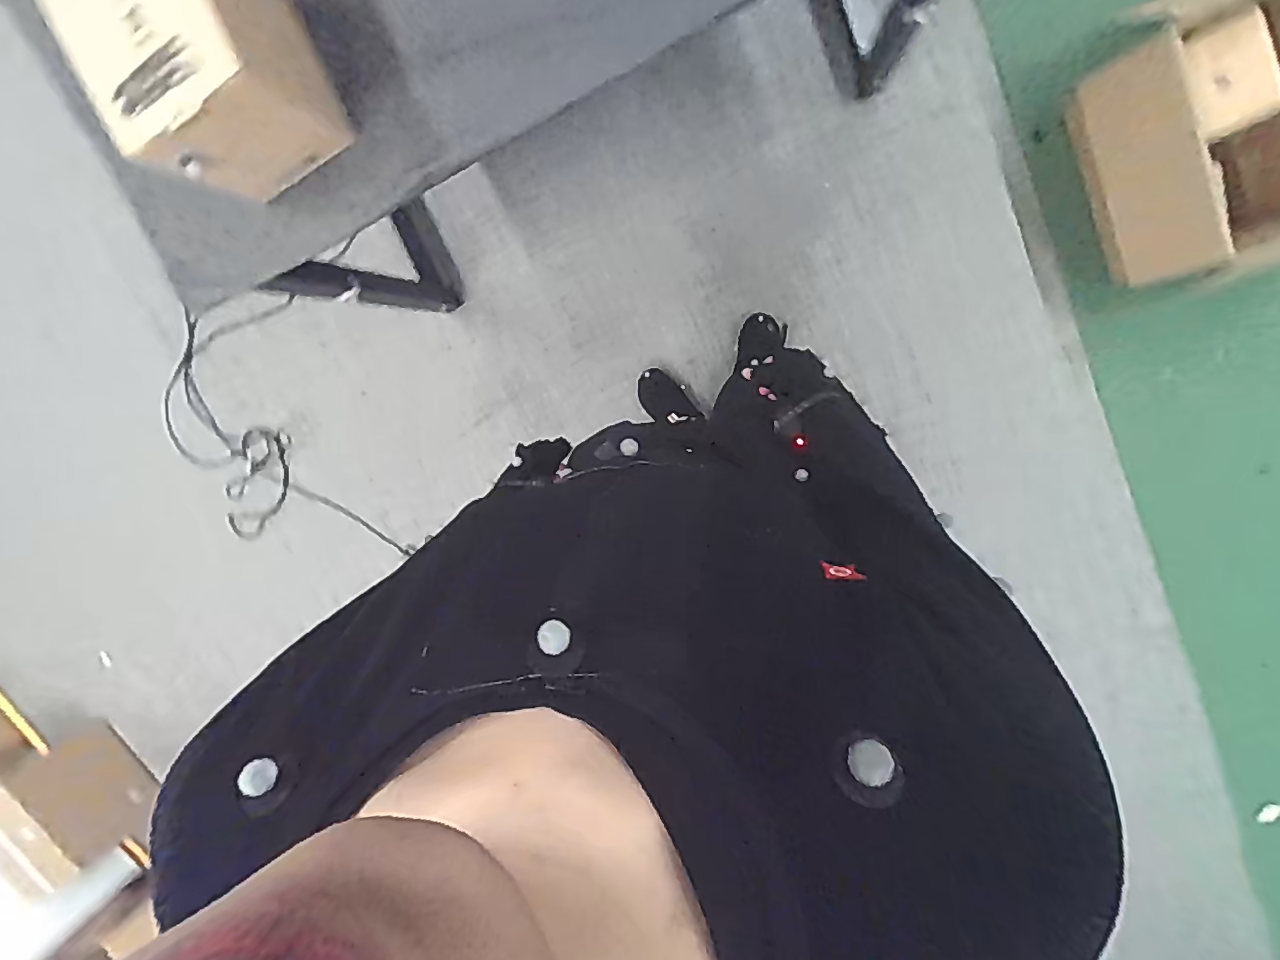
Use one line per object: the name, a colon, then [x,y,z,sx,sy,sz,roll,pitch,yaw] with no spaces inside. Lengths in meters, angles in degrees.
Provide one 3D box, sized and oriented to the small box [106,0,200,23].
small box: [-0.580,-0.651,0.582,0.168,0.176,0.179,-24,98,13]
